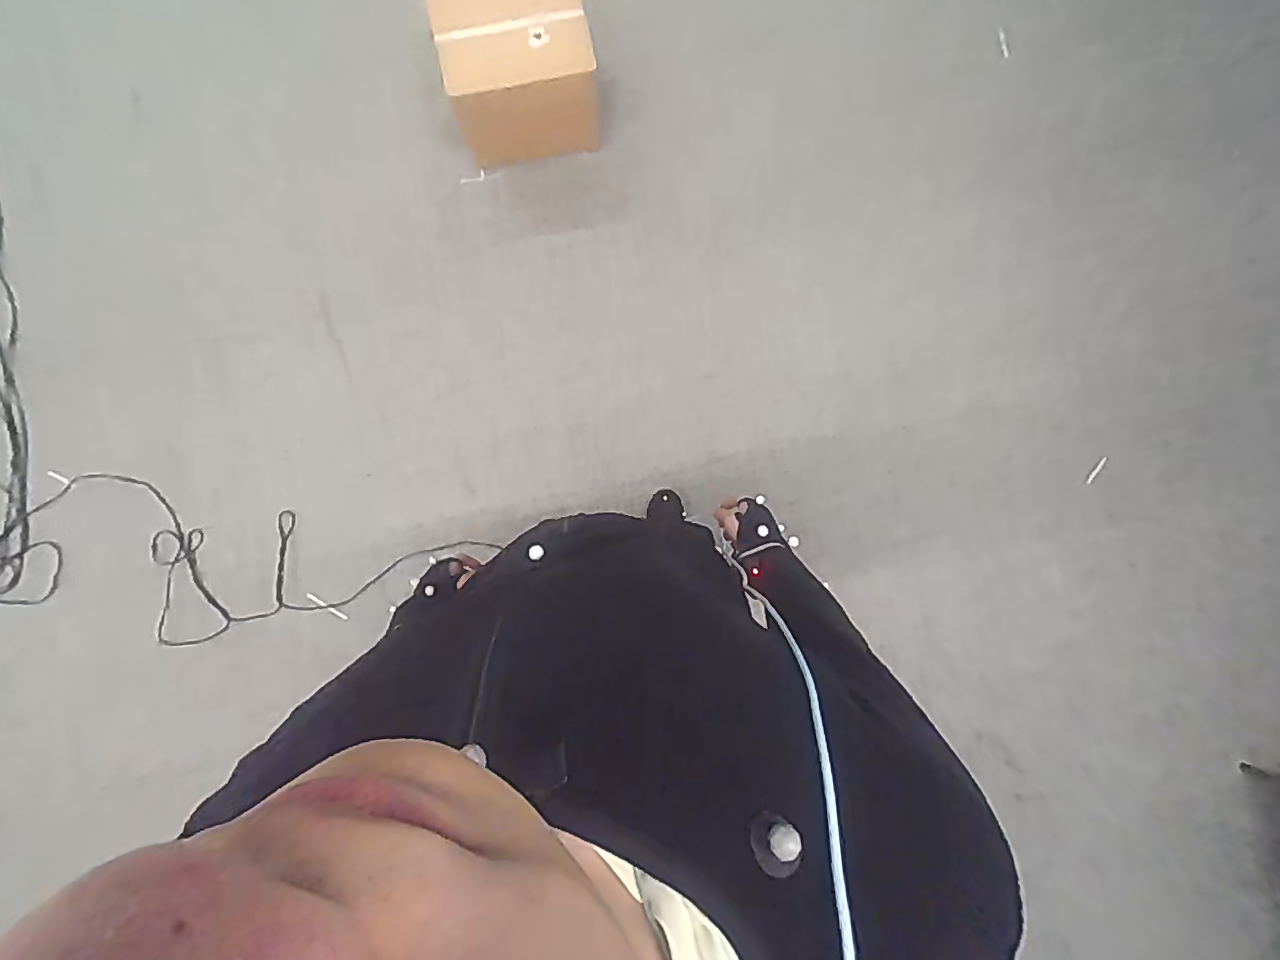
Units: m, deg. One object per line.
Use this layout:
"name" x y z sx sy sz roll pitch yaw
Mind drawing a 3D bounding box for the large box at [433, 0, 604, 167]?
"large box" -0.333 -1.181 1.572 0.408 0.320 0.320 -12 87 -2
